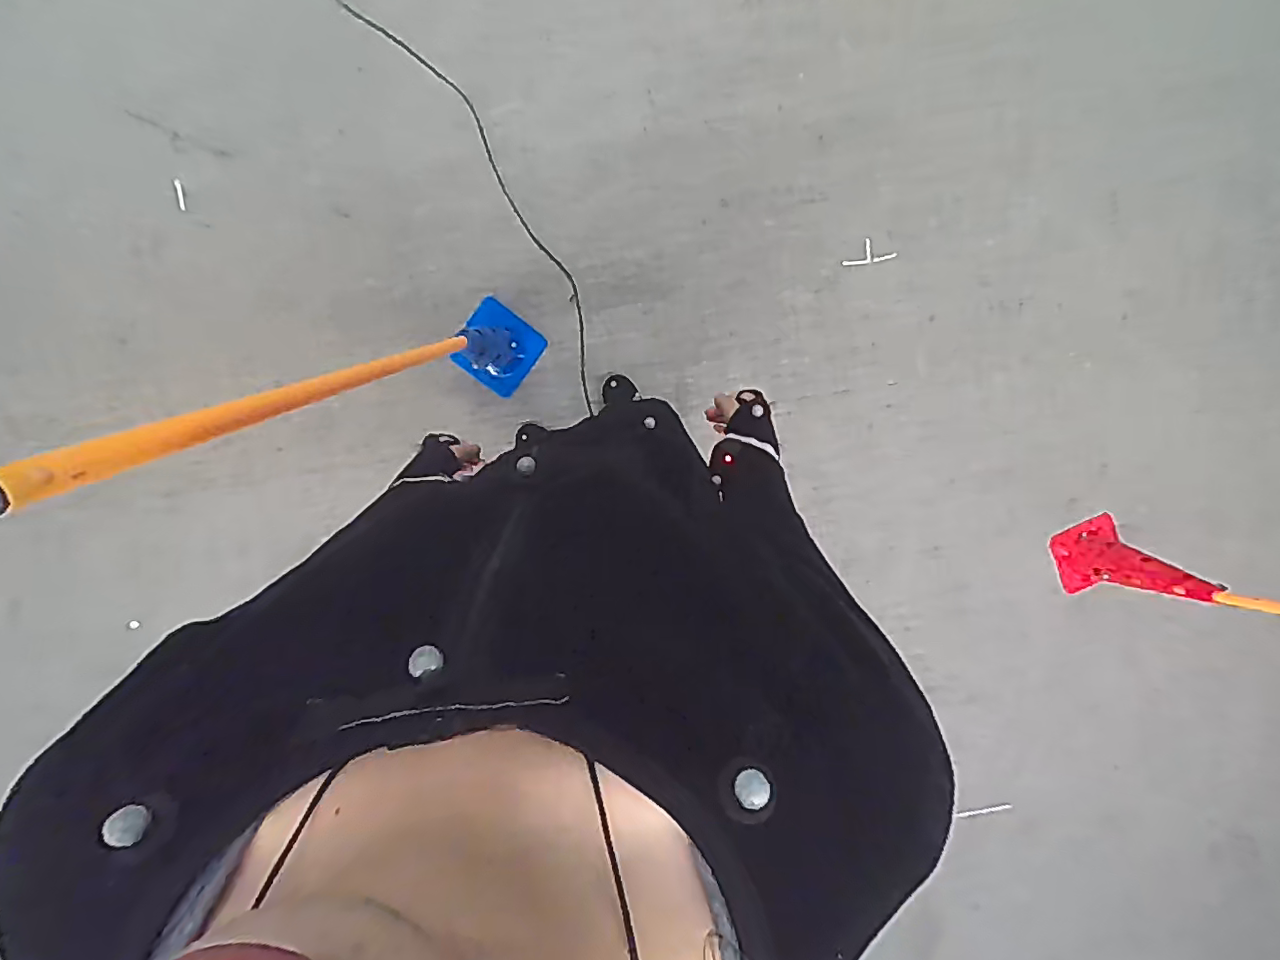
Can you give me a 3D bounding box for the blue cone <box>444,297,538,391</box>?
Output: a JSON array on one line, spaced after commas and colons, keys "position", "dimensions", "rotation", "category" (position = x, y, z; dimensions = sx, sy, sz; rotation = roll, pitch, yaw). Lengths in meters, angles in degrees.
[{"position": [-0.369, -0.312, 1.239], "dimensions": [0.192, 0.380, 0.193], "rotation": [36, 98, -10], "category": "blue cone"}]
